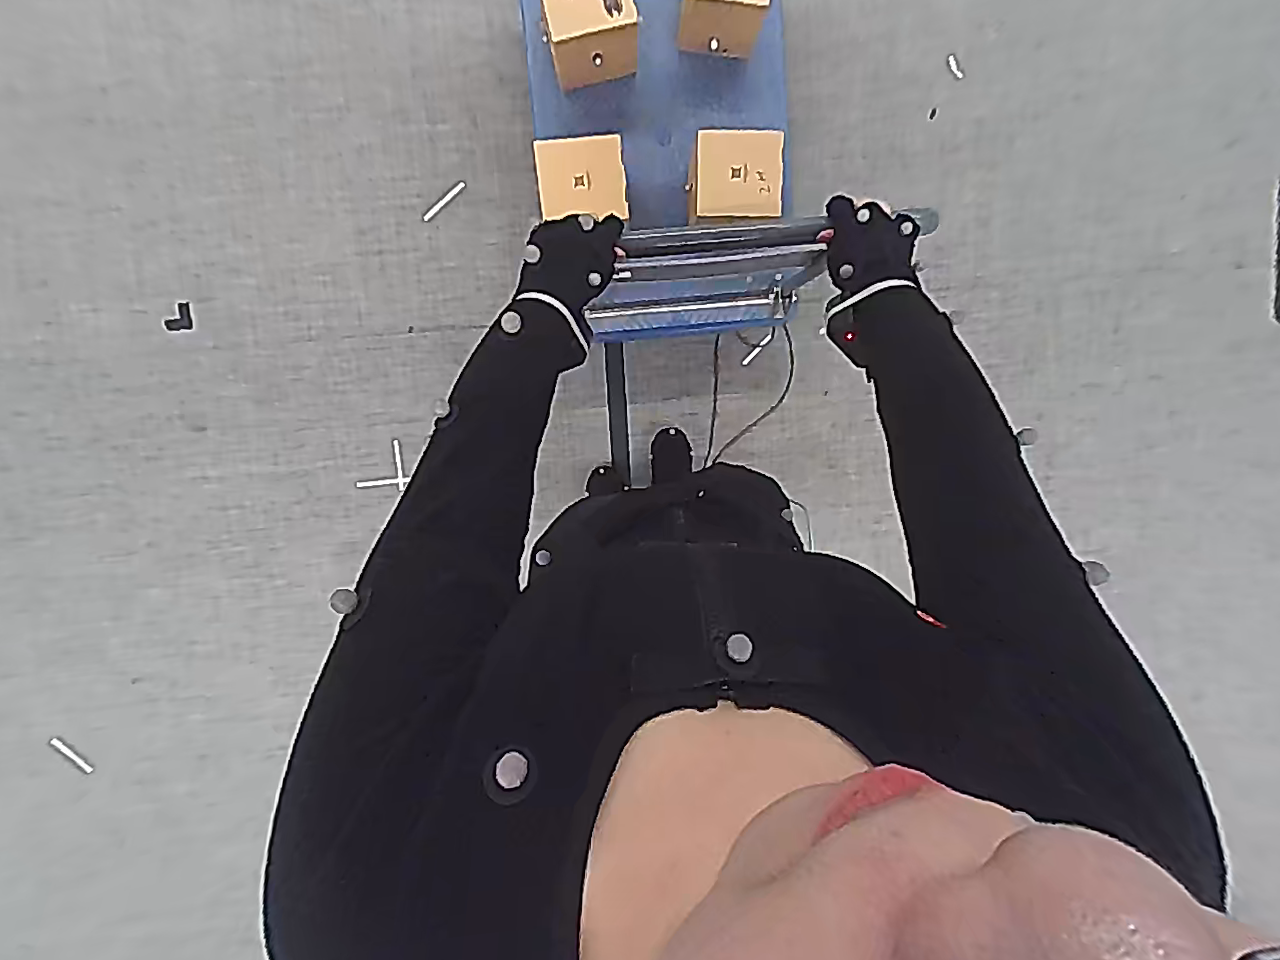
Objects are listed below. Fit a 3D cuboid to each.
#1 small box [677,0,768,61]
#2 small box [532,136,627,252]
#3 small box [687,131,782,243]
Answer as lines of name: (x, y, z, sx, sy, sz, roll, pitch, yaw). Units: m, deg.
small box: (0.172, -1.019, 1.114, 0.168, 0.176, 0.179, 6, 98, -3)
small box: (-0.122, -0.602, 1.156, 0.179, 0.176, 0.168, -7, 97, -3)
small box: (0.195, -0.621, 1.164, 0.179, 0.176, 0.168, 0, 97, -2)
